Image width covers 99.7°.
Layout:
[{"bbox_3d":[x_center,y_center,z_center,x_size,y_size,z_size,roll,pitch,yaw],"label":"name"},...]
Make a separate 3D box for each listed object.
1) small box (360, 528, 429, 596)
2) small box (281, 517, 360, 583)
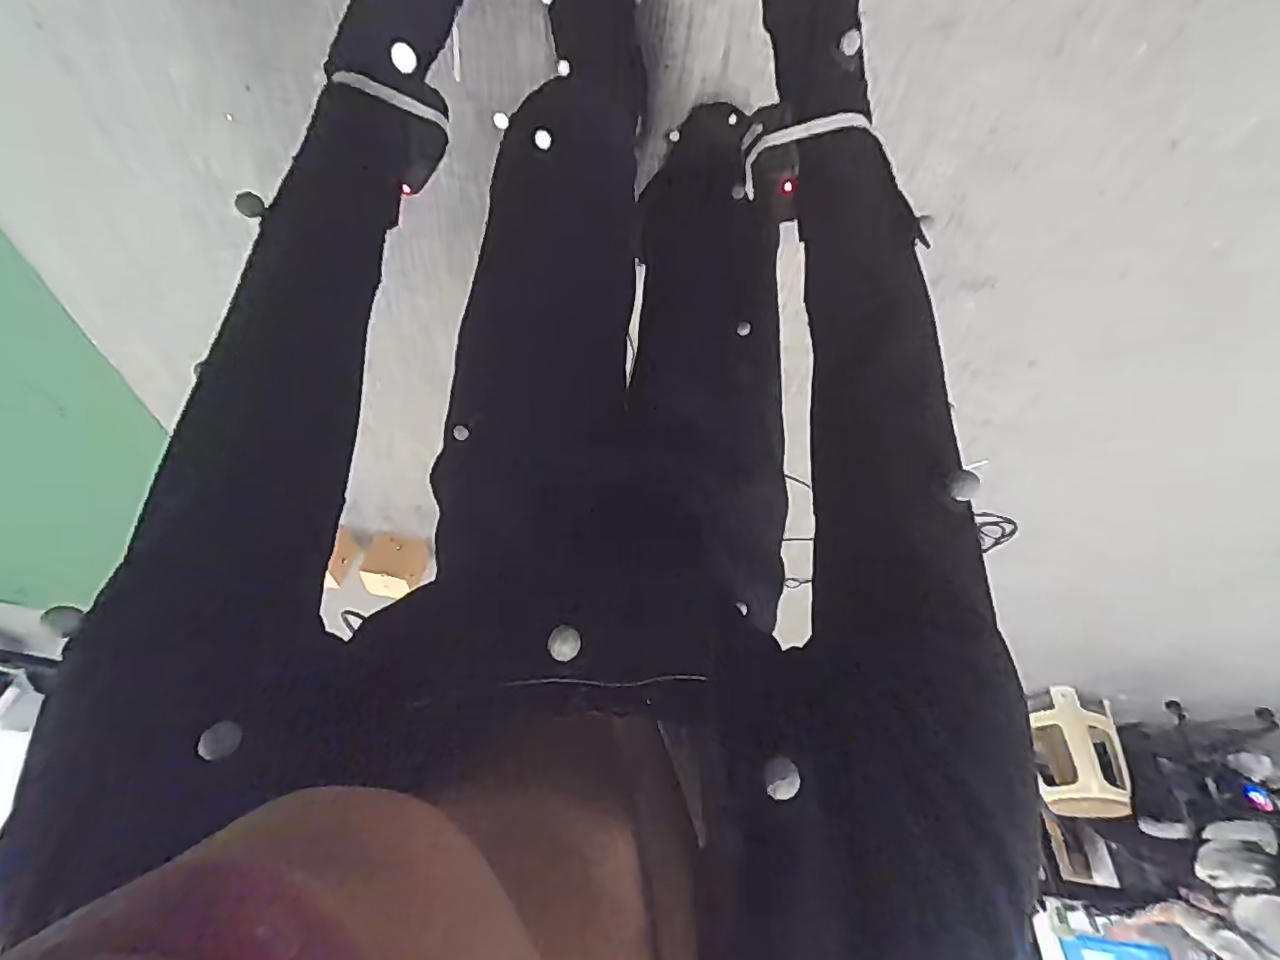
[{"bbox_3d":[-0.893,0.300,1.984,0.168,0.176,0.179,11,141,-3],"label":"small box"},{"bbox_3d":[-1.157,0.253,1.972,0.168,0.176,0.179,9,142,-1],"label":"small box"}]
